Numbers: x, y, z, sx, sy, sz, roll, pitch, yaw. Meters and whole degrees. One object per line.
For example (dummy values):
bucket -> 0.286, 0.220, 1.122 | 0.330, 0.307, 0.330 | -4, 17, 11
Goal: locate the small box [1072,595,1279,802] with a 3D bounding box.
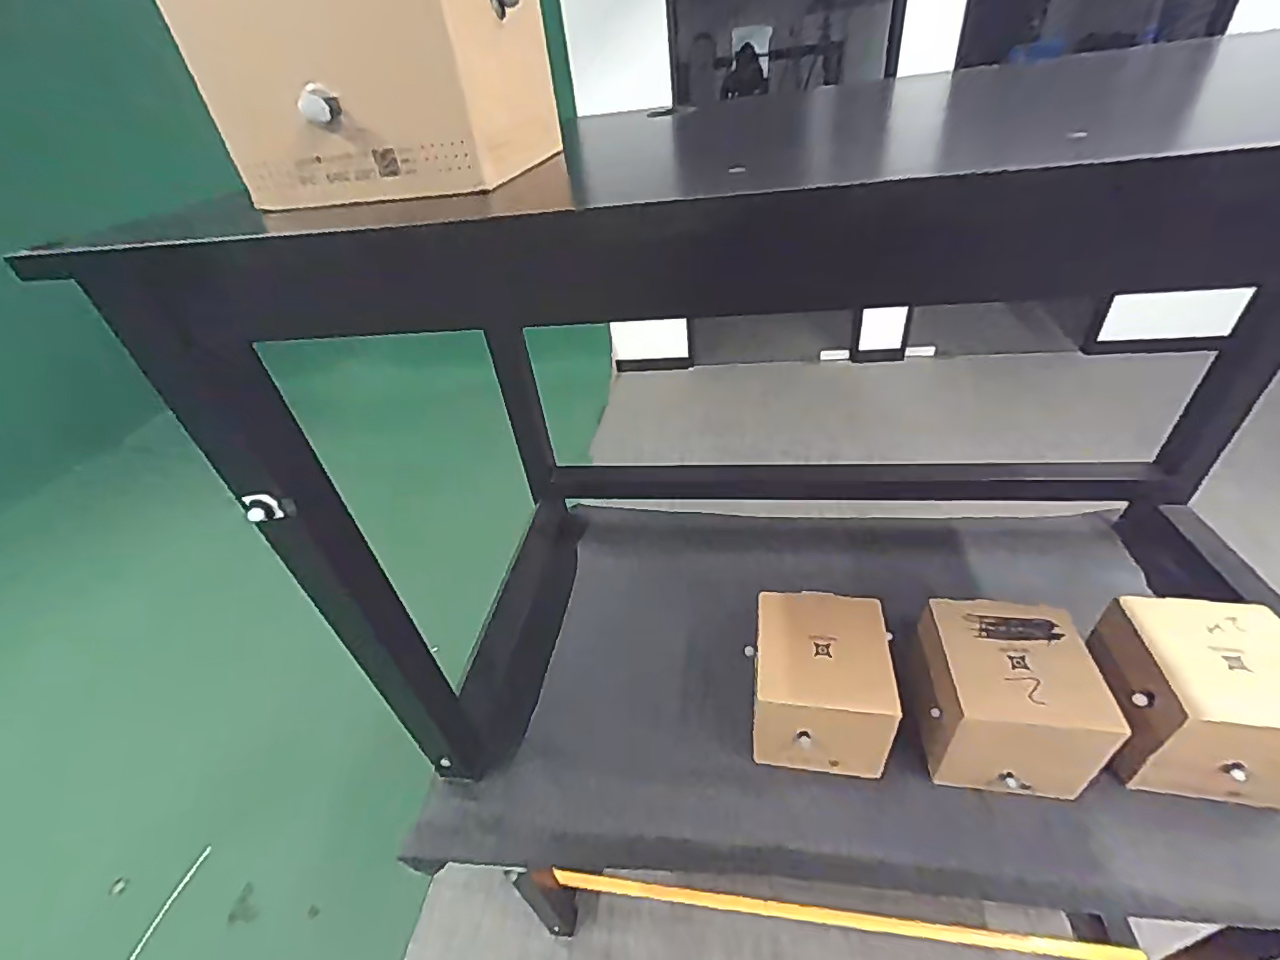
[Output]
small box -> 0.691, 0.270, 0.676 | 0.168, 0.176, 0.179 | 2, 38, 13

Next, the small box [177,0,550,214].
small box -> -0.169, -0.289, 0.364 | 0.168, 0.176, 0.179 | 0, 39, 11

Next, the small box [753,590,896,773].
small box -> 0.245, 0.279, 0.754 | 0.168, 0.176, 0.179 | 1, 38, 13
